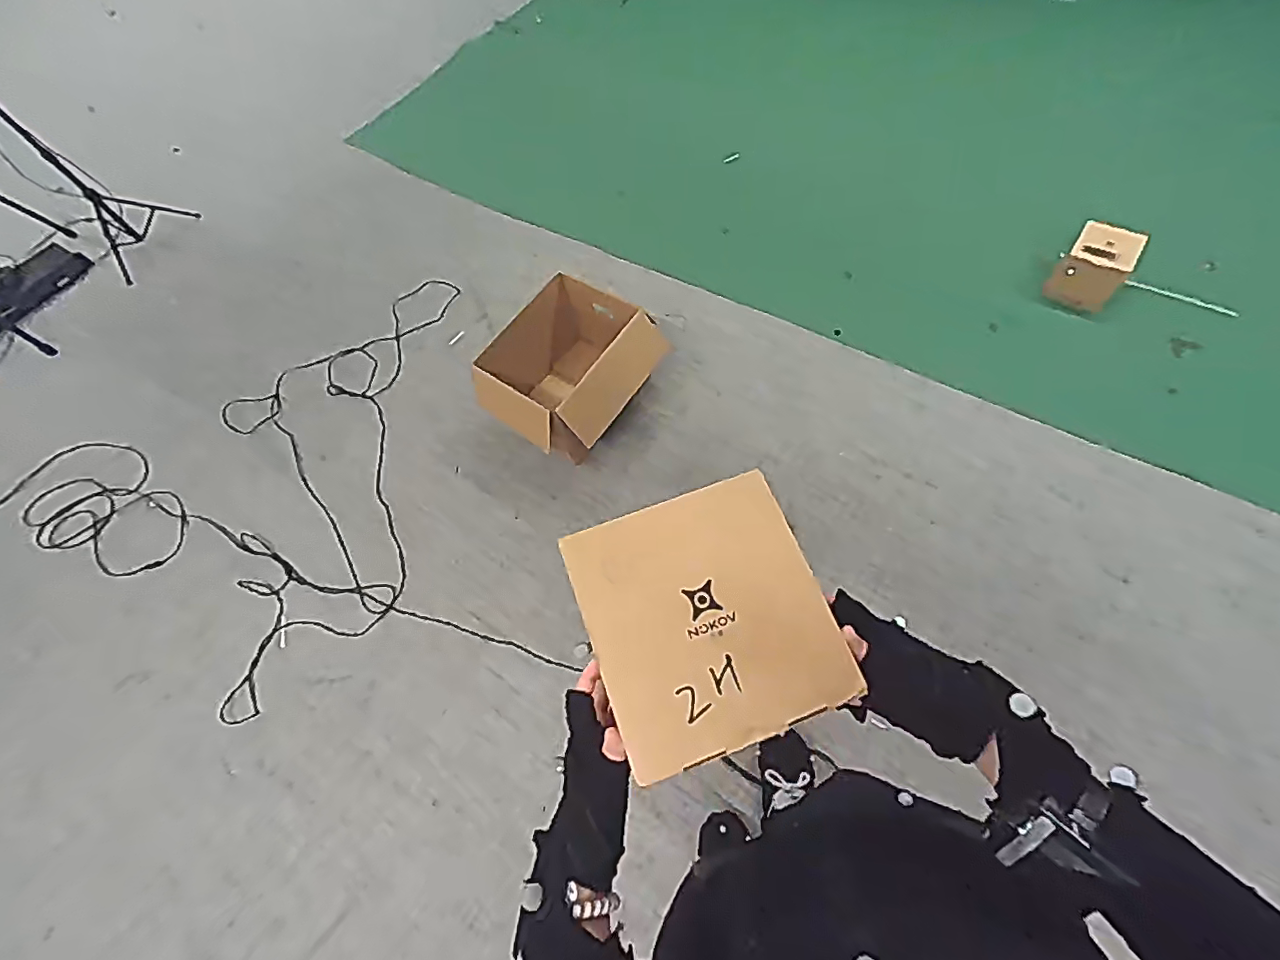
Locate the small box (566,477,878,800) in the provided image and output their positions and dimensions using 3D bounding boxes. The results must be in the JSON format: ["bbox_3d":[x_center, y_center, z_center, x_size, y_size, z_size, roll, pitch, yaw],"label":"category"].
[{"bbox_3d":[0.049,0.126,0.440,0.168,0.176,0.179,-19,70,-7],"label":"small box"}]
